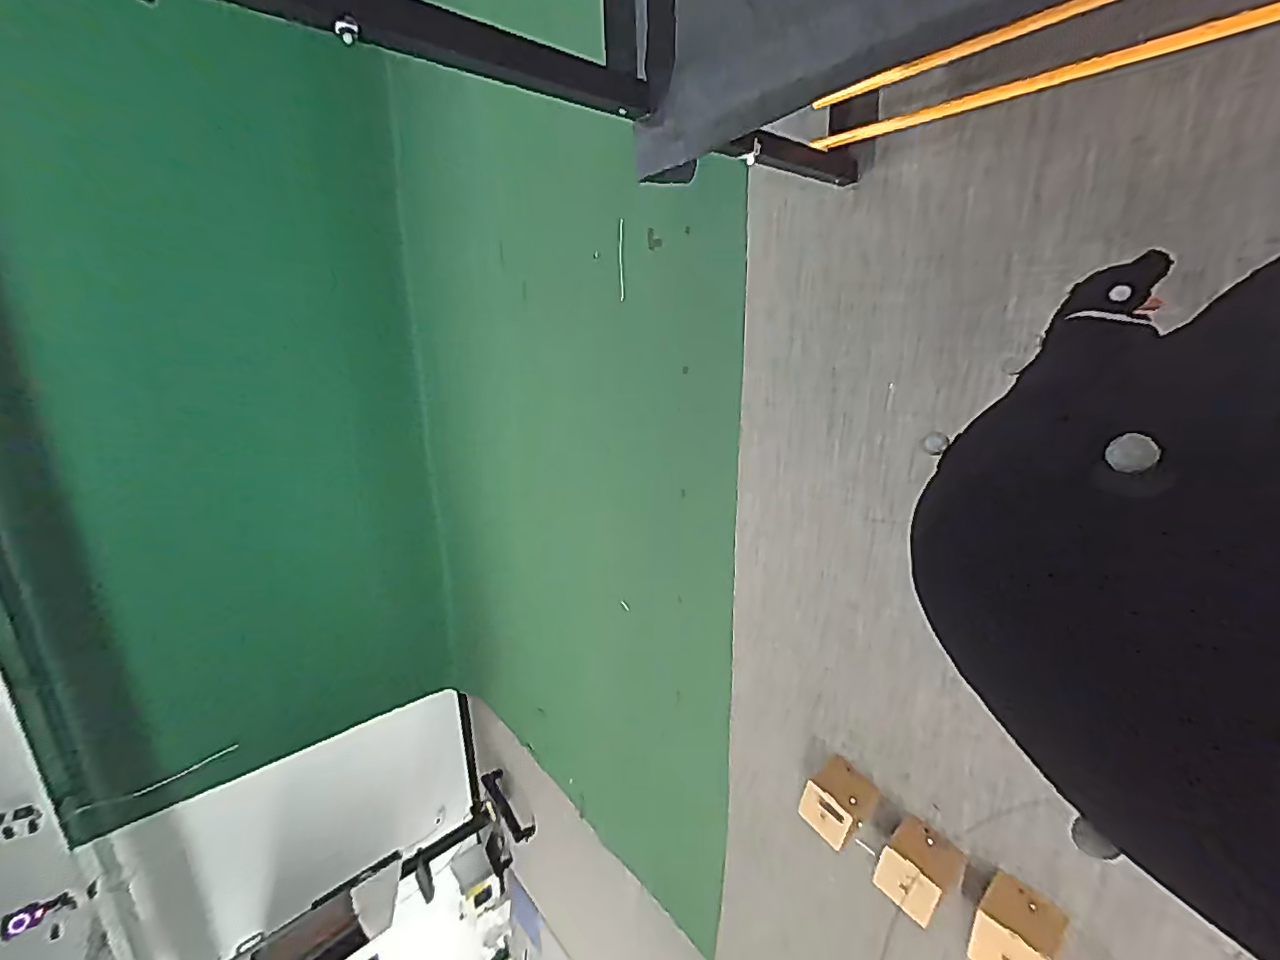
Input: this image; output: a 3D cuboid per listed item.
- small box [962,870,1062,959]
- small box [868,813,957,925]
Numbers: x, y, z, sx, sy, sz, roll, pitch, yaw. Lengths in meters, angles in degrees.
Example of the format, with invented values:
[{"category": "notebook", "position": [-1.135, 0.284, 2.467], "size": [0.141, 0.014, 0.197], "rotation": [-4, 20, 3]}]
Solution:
[{"category": "small box", "position": [0.990, 1.206, 1.437], "size": [0.168, 0.176, 0.179], "rotation": [18, 113, 46]}, {"category": "small box", "position": [0.821, 1.161, 1.626], "size": [0.168, 0.176, 0.179], "rotation": [27, 120, 43]}]
